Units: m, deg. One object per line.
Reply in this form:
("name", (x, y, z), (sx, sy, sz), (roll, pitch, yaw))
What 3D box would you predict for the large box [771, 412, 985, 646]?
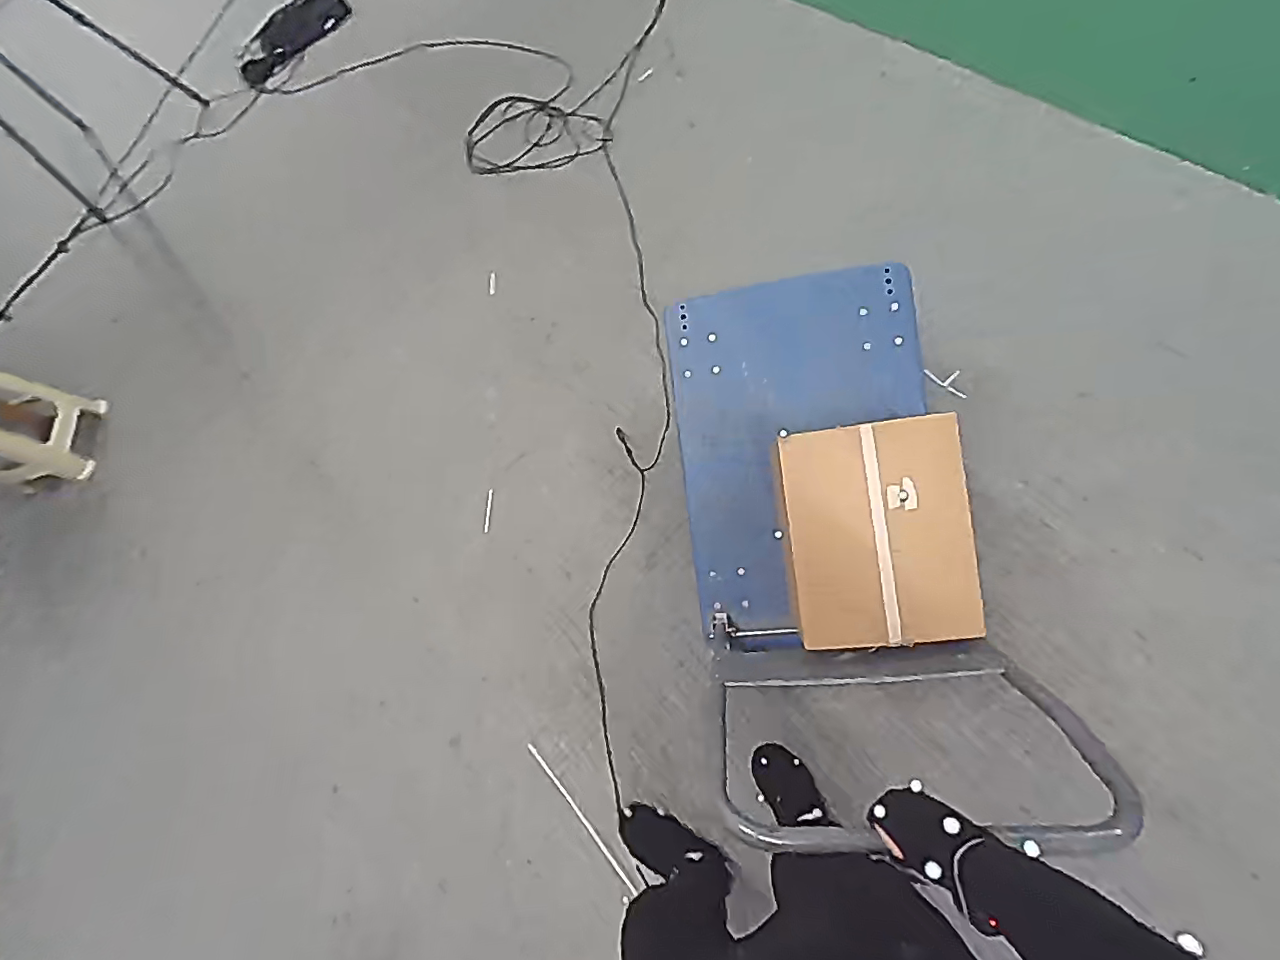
("large box", (0.465, 0.097, 1.140), (0.320, 0.320, 0.408), (-8, 88, 10))
